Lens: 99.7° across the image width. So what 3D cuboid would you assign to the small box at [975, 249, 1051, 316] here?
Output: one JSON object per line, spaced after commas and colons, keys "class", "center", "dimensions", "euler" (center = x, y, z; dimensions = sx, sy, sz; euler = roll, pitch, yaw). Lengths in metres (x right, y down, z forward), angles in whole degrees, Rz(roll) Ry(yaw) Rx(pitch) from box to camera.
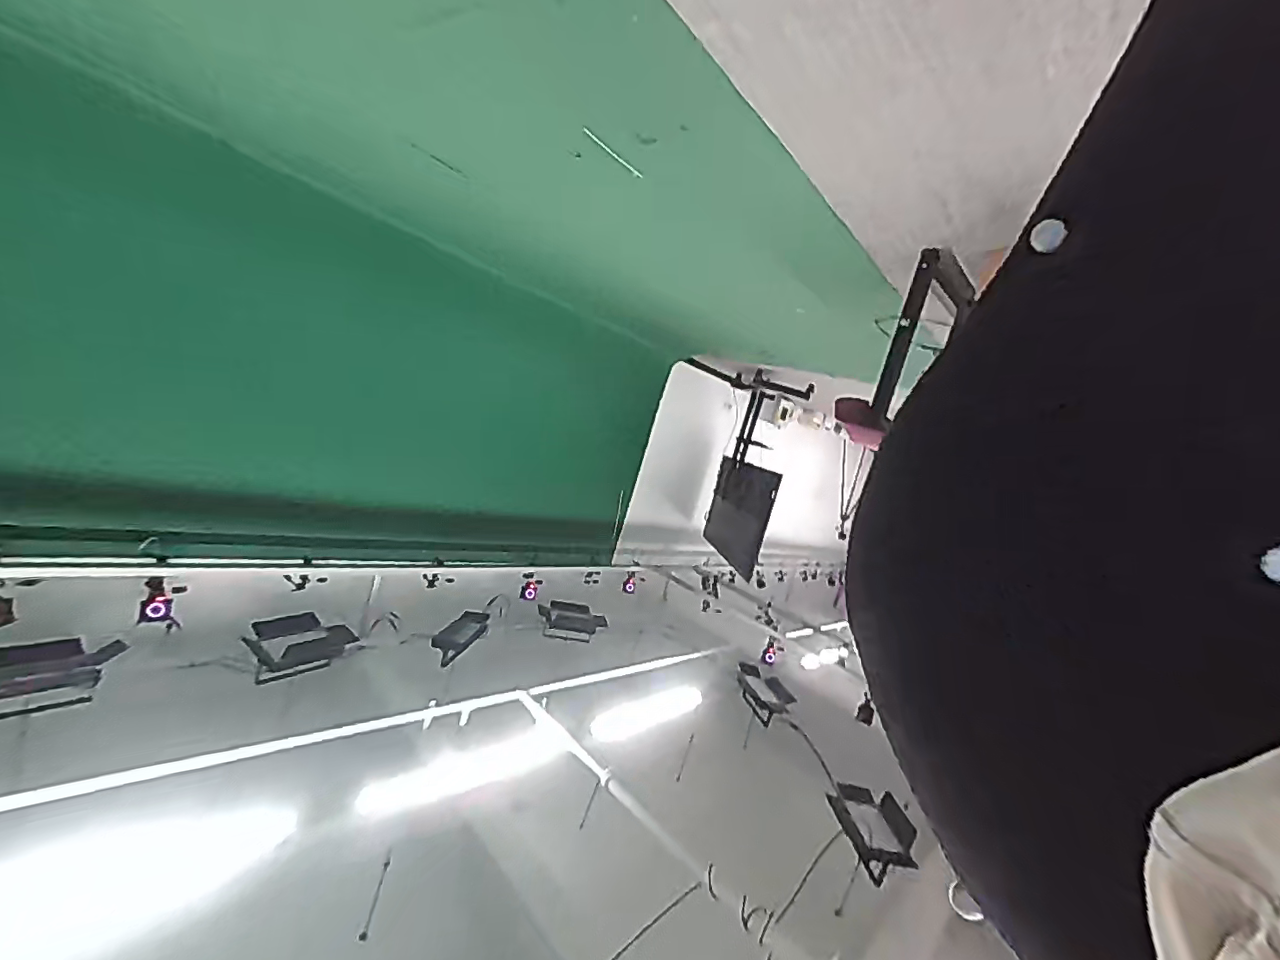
{"class": "small box", "center": [1.275, -0.673, 1.840], "dimensions": [0.179, 0.176, 0.168], "euler": [21, -173, 39]}
